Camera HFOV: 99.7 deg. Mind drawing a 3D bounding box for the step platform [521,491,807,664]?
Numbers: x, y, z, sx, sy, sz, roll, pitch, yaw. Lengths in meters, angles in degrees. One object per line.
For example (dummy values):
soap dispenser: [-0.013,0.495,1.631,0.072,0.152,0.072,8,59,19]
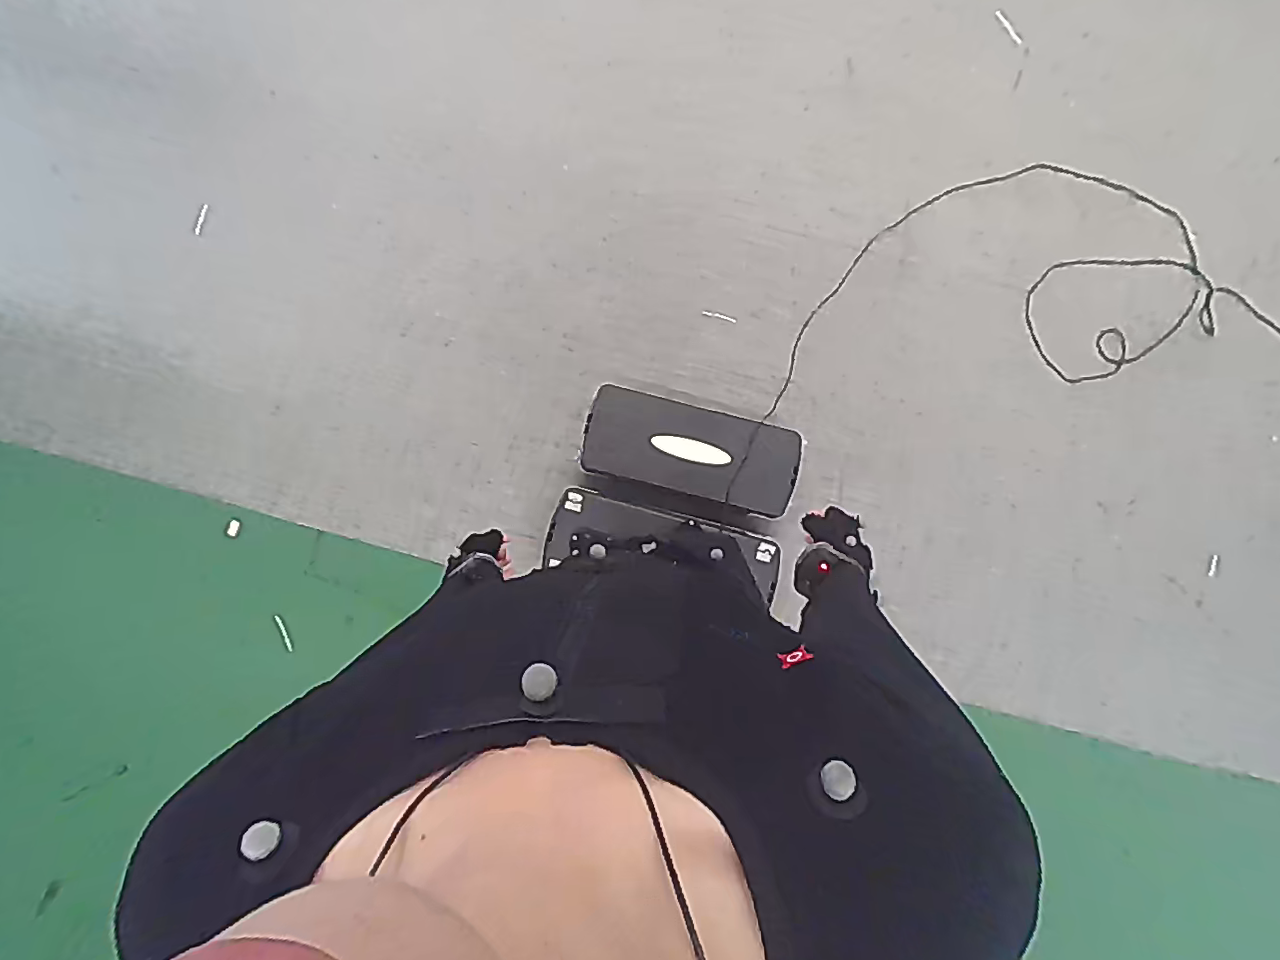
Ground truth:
step platform: [0.059,0.239,1.395,0.684,0.204,0.286,14,86,0]
